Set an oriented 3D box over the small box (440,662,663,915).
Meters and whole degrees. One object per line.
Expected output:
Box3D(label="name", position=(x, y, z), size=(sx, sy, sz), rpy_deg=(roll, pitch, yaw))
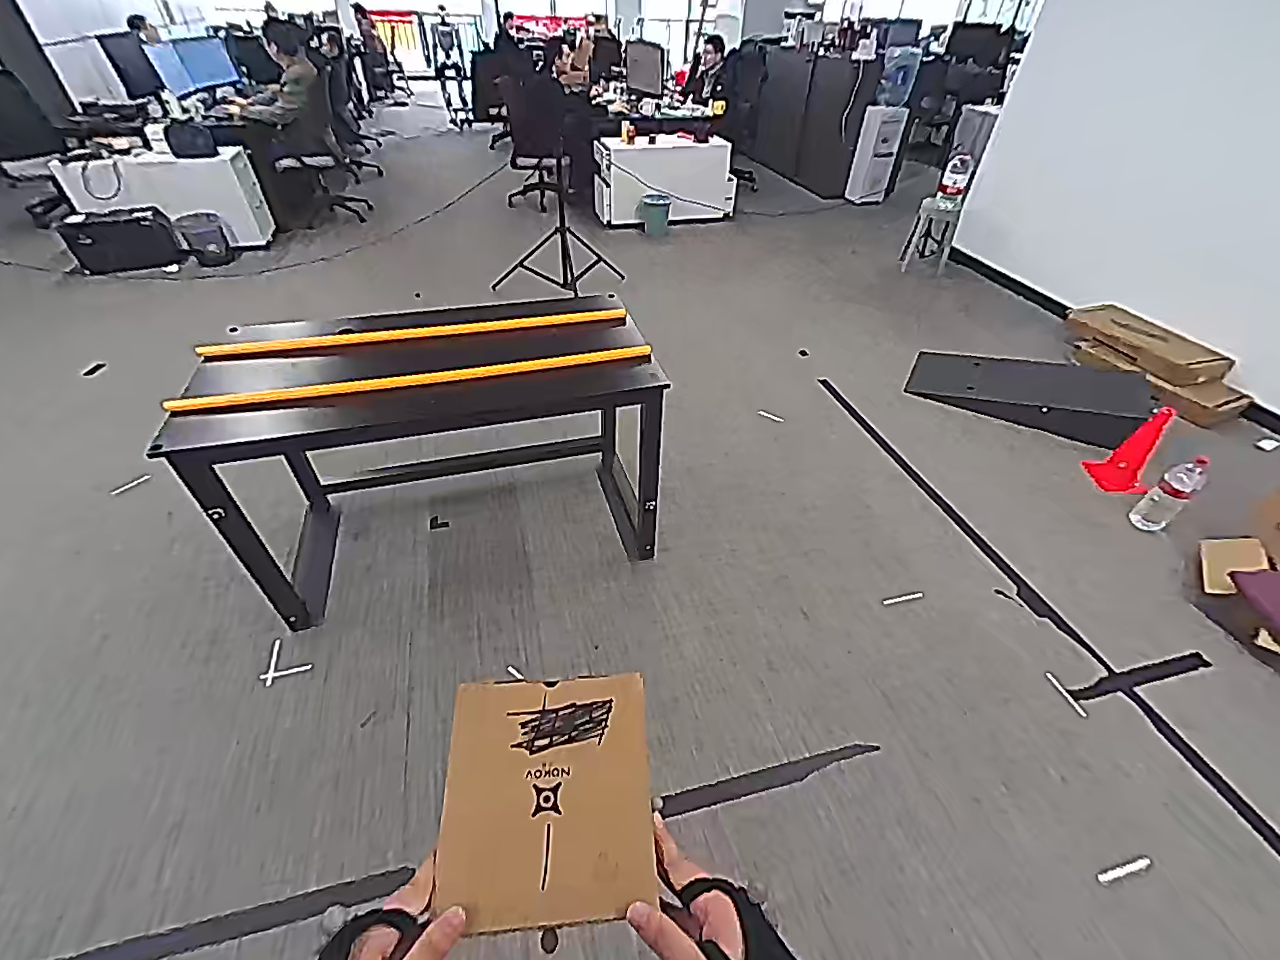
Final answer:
Box3D(label="small box", position=(-0.074, 0.289, 0.508), size=(0.168, 0.176, 0.179), rpy_deg=(-2, 51, -5))
